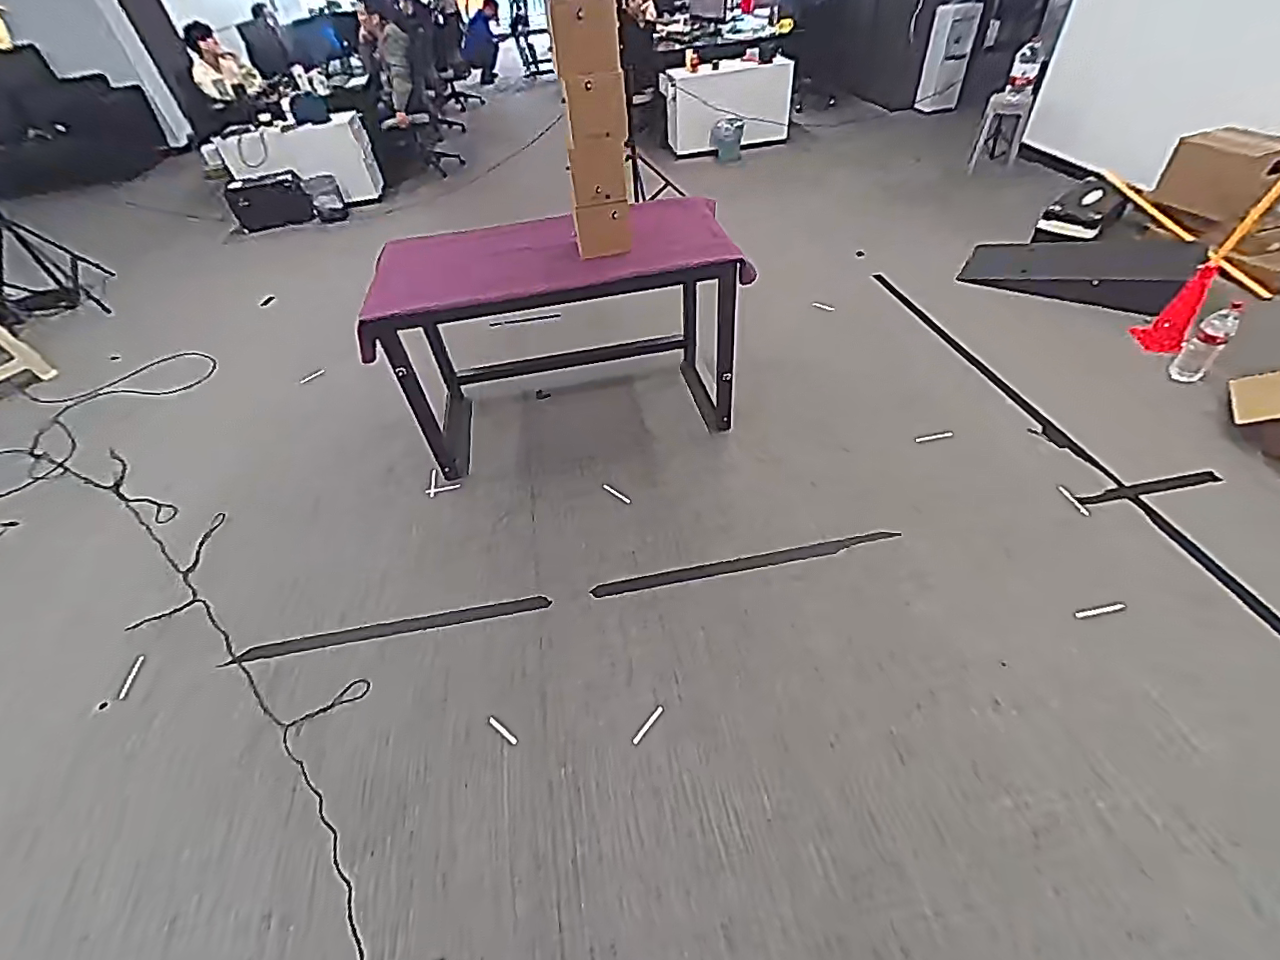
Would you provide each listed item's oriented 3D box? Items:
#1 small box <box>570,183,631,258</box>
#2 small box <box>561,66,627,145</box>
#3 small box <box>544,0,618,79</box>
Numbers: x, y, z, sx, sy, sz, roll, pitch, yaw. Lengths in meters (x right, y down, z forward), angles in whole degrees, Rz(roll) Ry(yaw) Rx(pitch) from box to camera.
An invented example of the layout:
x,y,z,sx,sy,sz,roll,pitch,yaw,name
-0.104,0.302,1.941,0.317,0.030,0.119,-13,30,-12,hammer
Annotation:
x,y,z,sx,sy,sz,roll,pitch,yaw,name
-0.129,-0.871,1.818,0.179,0.176,0.168,-12,45,-4,small box
-0.137,-1.102,1.586,0.168,0.176,0.179,-12,45,-5,small box
-0.159,-1.222,1.478,0.179,0.176,0.168,-12,46,-5,small box
